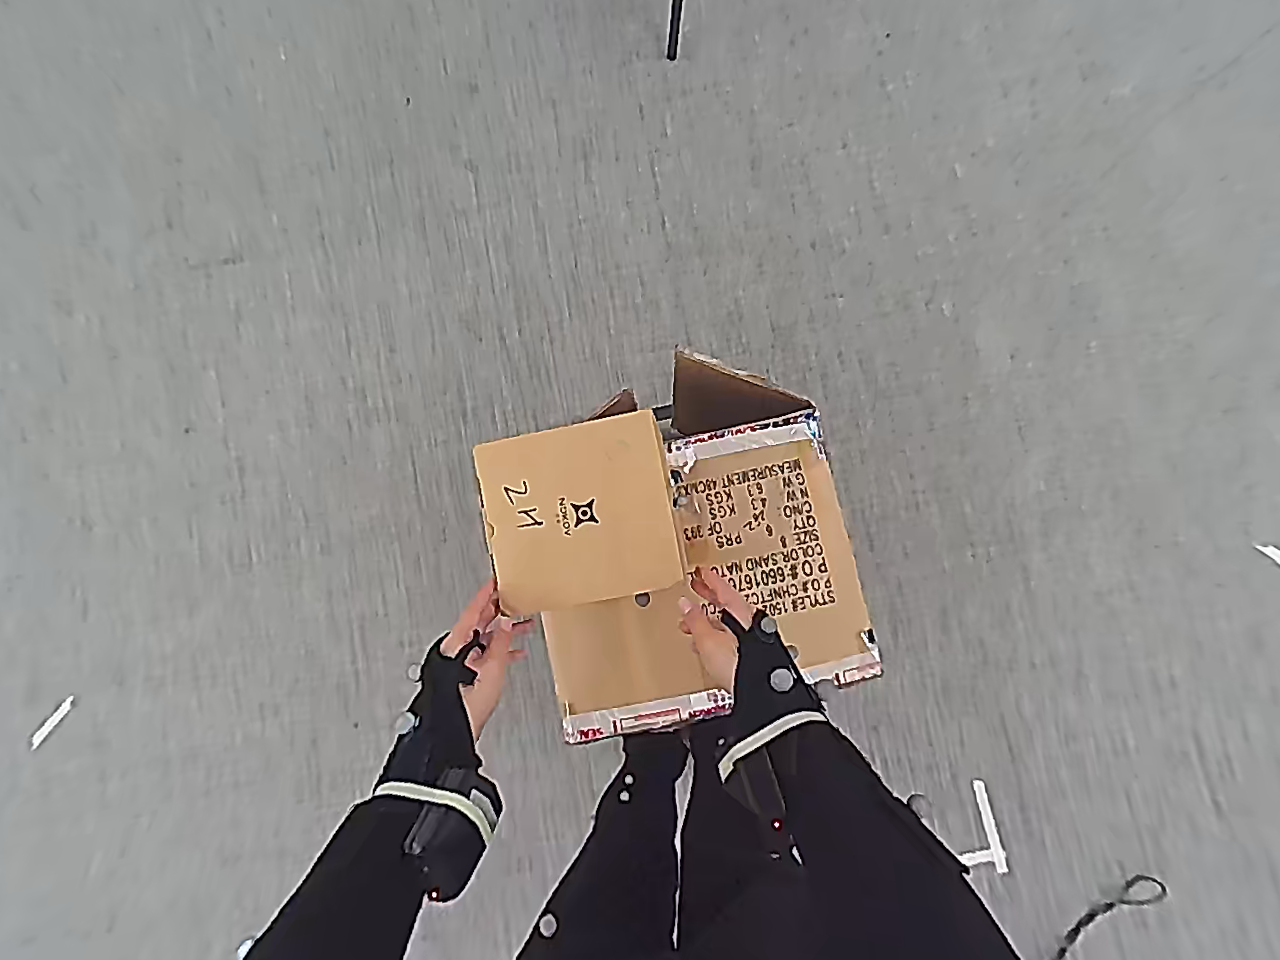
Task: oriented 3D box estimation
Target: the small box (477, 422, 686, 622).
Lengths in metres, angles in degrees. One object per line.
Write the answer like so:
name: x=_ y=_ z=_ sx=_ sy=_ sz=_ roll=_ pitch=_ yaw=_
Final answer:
small box: x=-0.051 y=0.044 z=0.584 sx=0.179 sy=0.176 sz=0.168 roll=-11 pitch=85 yaw=5
